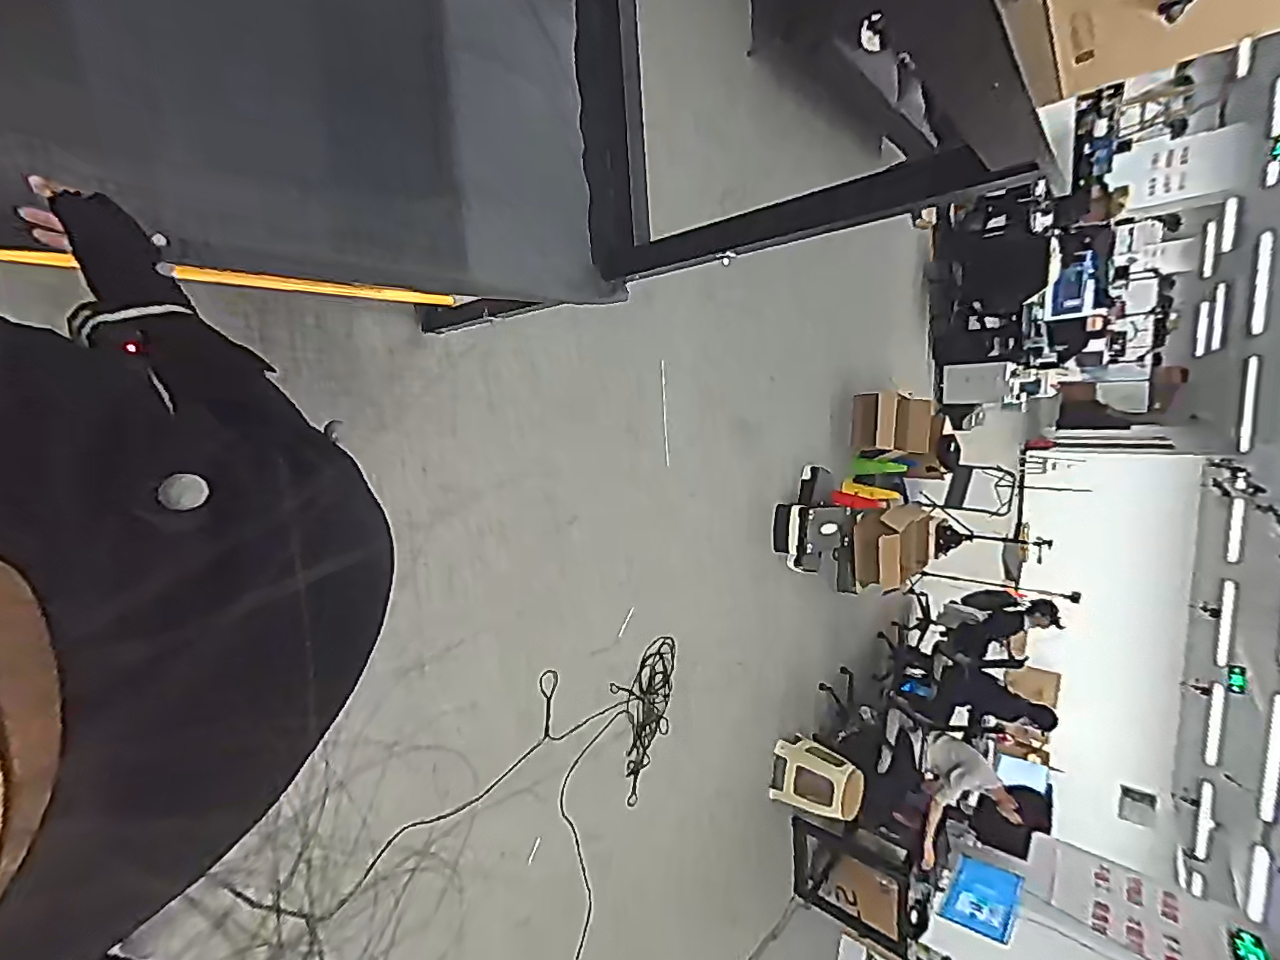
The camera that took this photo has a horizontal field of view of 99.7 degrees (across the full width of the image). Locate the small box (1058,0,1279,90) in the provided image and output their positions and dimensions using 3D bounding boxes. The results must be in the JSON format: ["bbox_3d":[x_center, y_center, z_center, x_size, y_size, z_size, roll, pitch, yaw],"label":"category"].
[{"bbox_3d":[0.435,-0.459,0.421,0.168,0.176,0.179,3,91,-48],"label":"small box"}]
